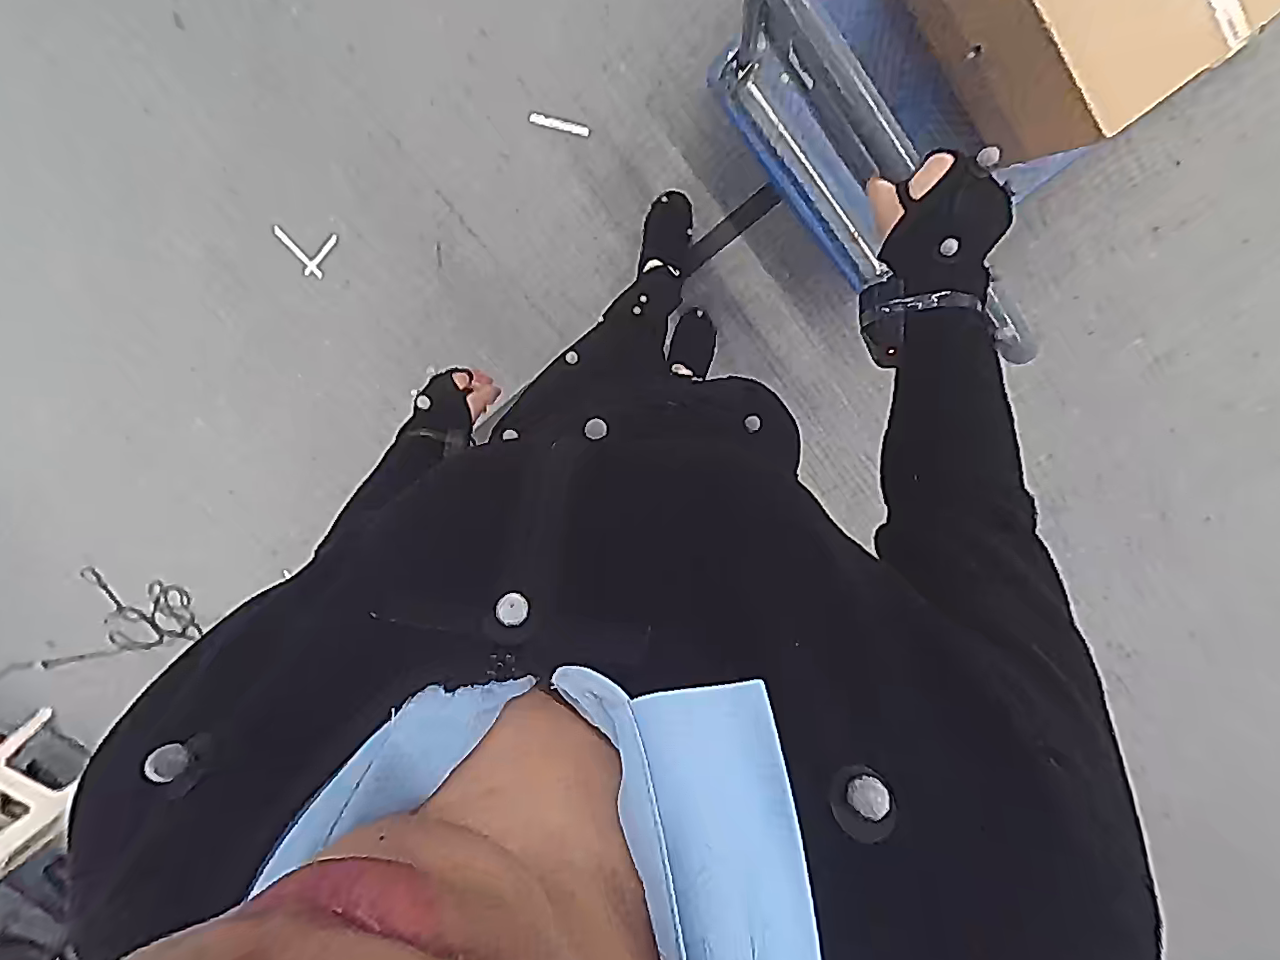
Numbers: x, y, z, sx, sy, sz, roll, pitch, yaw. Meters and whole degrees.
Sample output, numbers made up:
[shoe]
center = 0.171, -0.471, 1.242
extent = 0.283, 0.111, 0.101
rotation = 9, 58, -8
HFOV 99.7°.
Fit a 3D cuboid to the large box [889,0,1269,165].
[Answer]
[large box]
center = 0.638, -0.768, 0.807
extent = 0.320, 0.320, 0.408
rotation = -37, 103, 19
